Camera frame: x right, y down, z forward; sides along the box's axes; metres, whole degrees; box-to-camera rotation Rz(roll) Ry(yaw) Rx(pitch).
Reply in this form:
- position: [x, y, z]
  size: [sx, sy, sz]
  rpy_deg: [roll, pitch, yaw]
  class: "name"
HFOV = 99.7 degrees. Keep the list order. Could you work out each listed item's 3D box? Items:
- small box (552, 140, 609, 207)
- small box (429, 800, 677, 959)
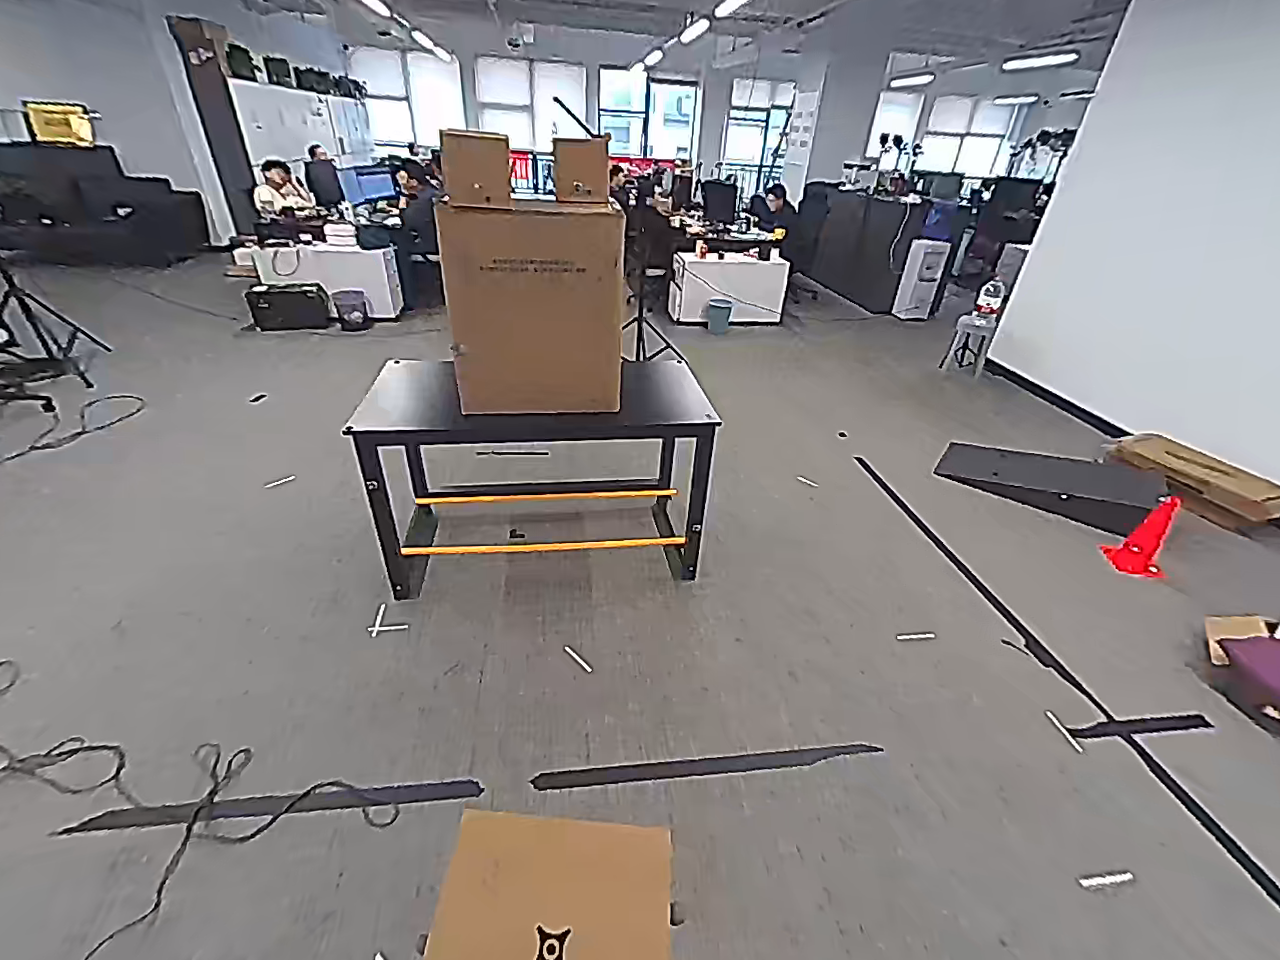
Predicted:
- position: [-0.182, -0.949, 1.671]
  size: [0.168, 0.176, 0.179]
  rpy_deg: [-3, 32, -6]
  class: "small box"
- position: [-0.066, 0.379, 0.413]
  size: [0.168, 0.176, 0.179]
  rpy_deg: [6, 40, -1]
  class: "small box"
